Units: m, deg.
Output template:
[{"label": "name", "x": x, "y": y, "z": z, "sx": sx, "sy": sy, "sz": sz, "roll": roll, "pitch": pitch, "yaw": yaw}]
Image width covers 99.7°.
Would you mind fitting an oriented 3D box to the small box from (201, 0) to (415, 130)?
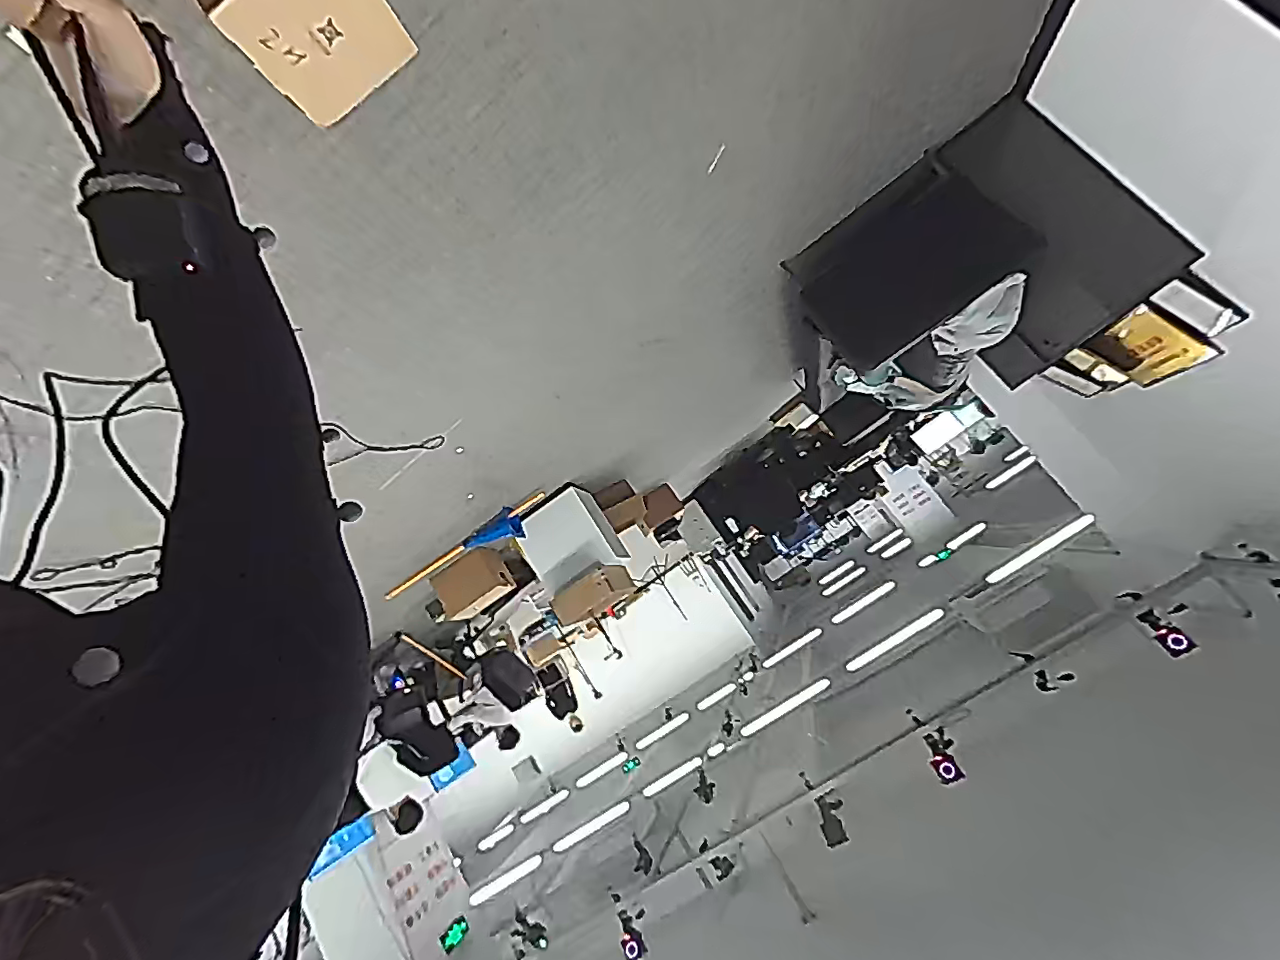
[{"label": "small box", "x": -0.430, "y": -0.603, "z": 0.674, "sx": 0.179, "sy": 0.176, "sz": 0.168, "roll": -36, "pitch": 166, "yaw": 5}]
